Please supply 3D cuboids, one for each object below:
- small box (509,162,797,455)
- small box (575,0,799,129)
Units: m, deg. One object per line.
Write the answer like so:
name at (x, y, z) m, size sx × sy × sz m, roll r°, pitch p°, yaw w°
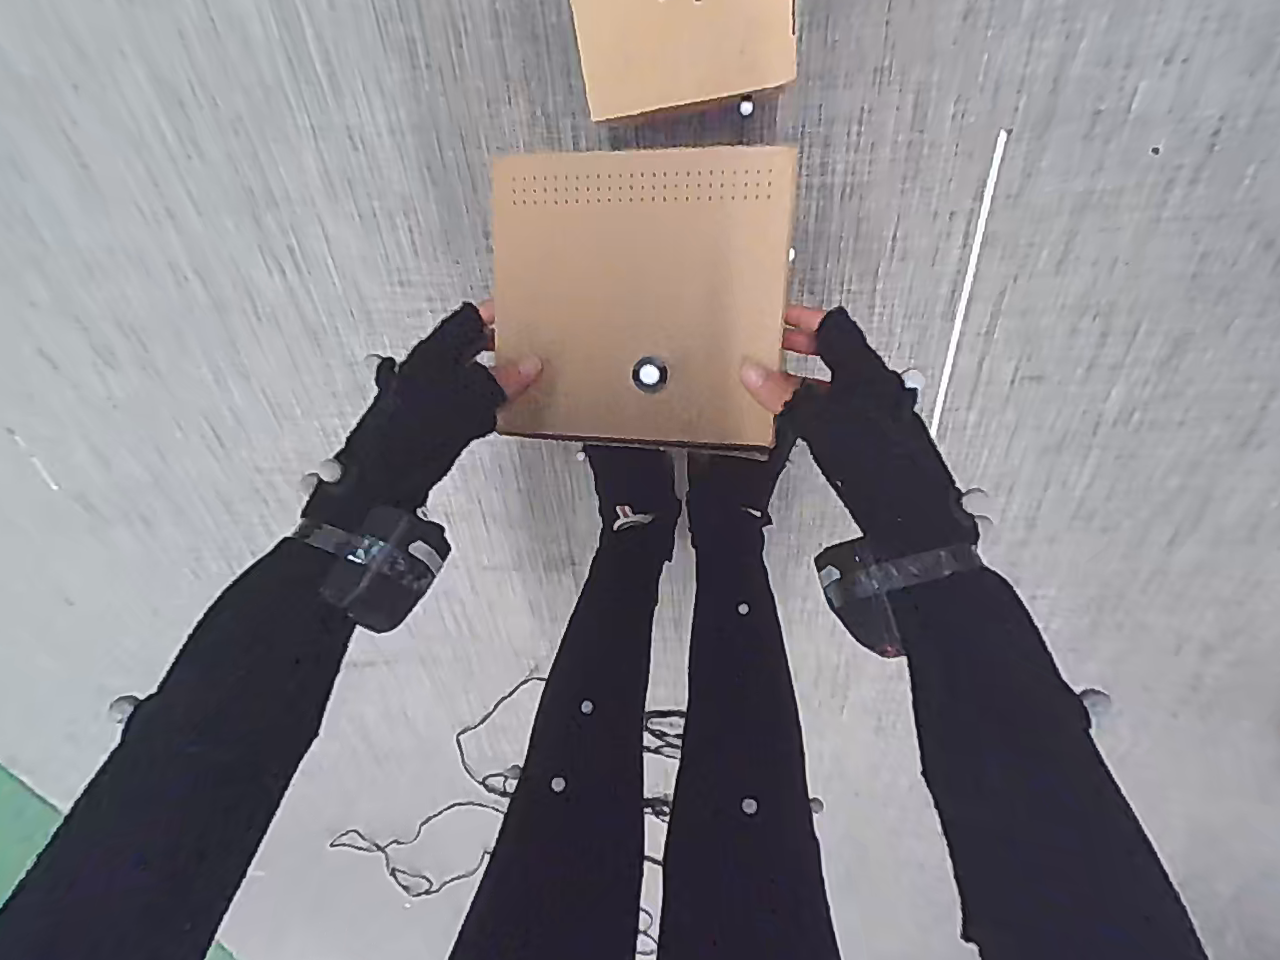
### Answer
small box at (0.014, -0.118, 0.399) m, size 0.179 × 0.168 × 0.176 m, roll 4°, pitch 102°, yaw 8°
small box at (0.043, -0.426, 0.483) m, size 0.179 × 0.176 × 0.168 m, roll -5°, pitch 121°, yaw 10°
